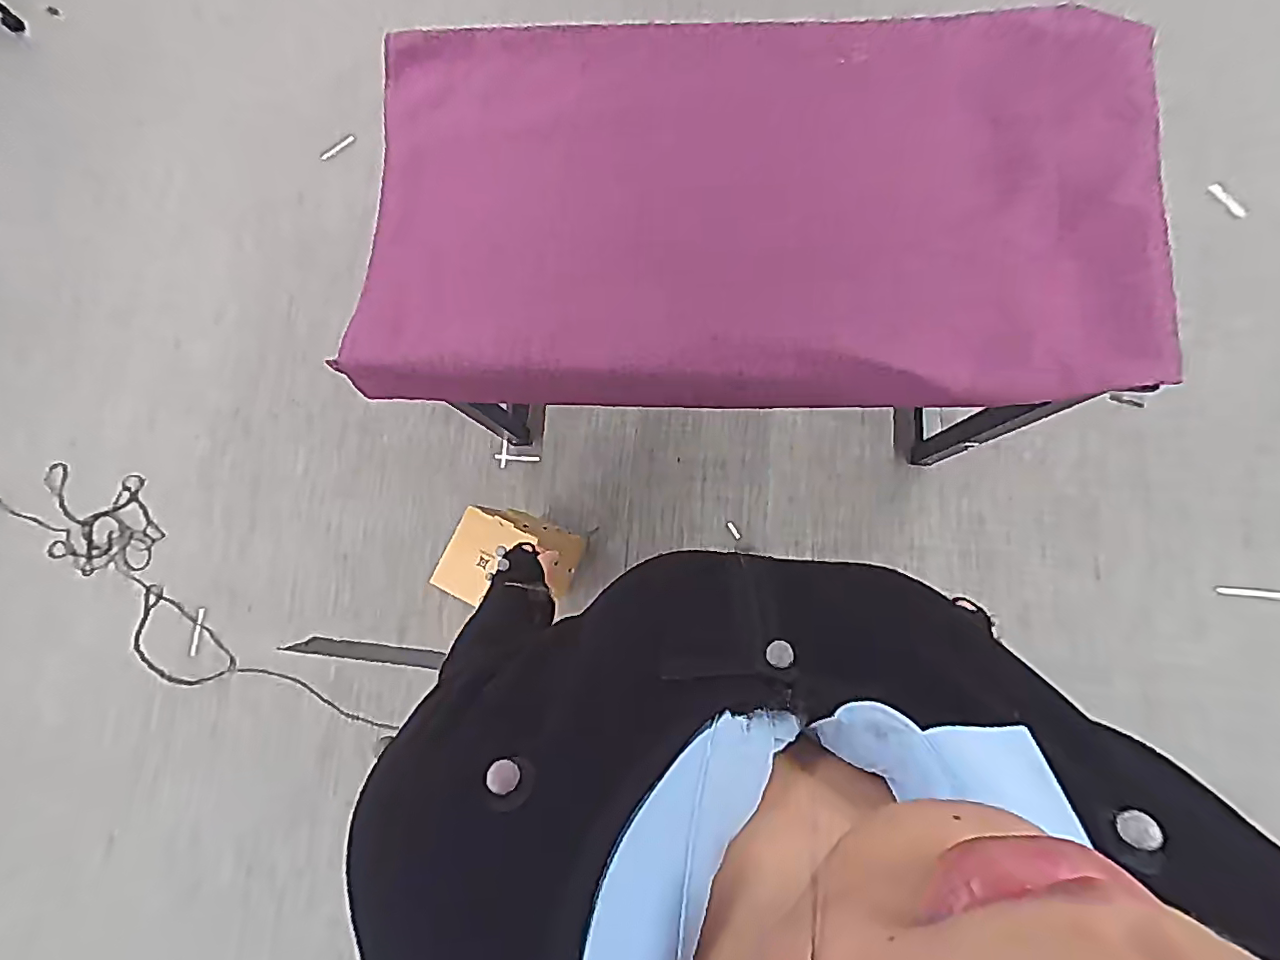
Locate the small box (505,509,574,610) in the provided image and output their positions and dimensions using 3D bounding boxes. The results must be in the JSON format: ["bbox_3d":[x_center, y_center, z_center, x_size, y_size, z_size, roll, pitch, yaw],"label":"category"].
[{"bbox_3d":[-0.275,0.189,1.305,0.168,0.176,0.179,32,87,9],"label":"small box"}]

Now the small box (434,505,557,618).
[{"bbox_3d":[-0.294,0.171,1.144,0.168,0.176,0.179,25,84,8],"label":"small box"}]
